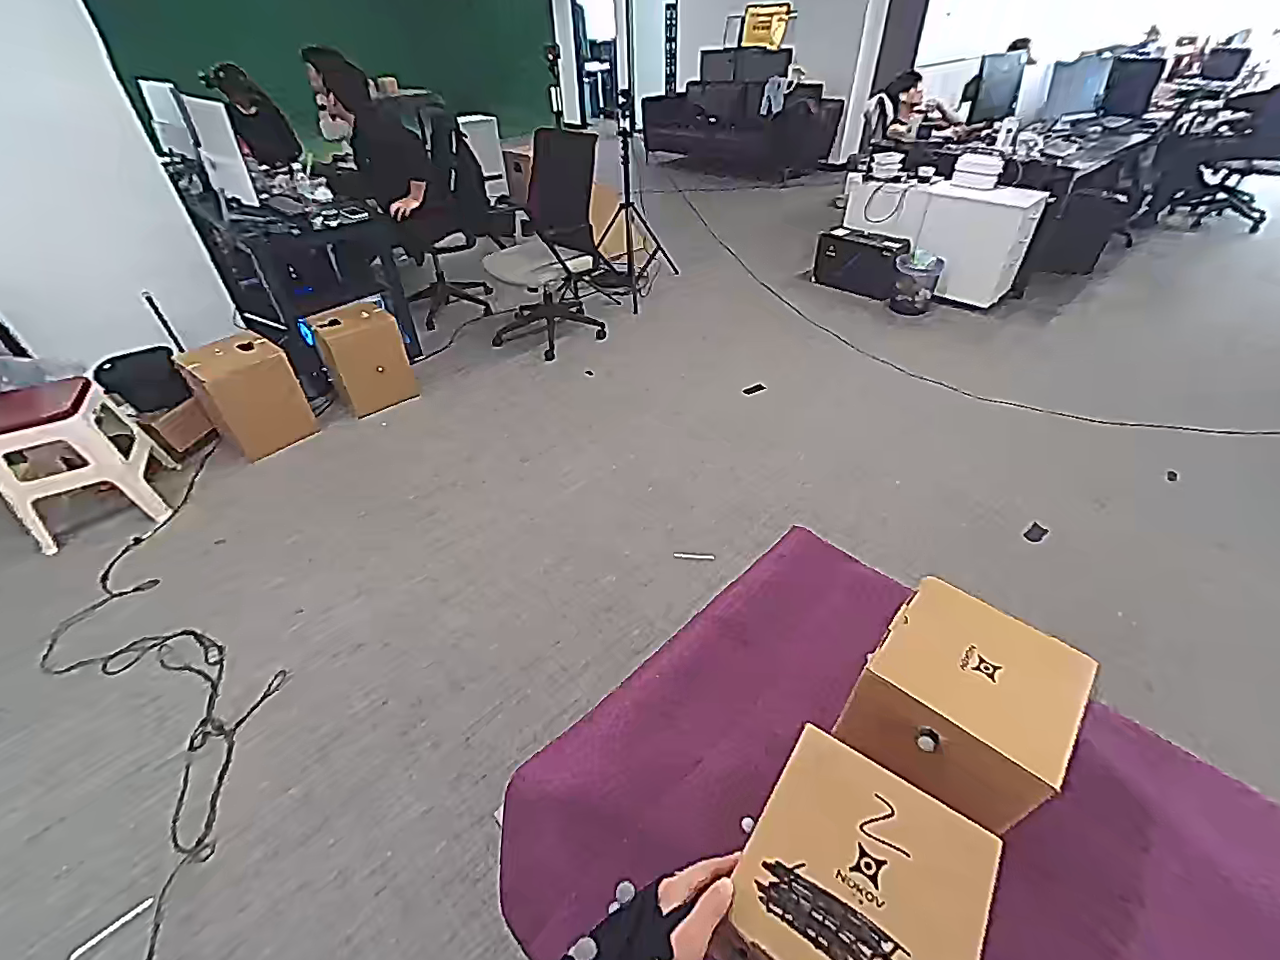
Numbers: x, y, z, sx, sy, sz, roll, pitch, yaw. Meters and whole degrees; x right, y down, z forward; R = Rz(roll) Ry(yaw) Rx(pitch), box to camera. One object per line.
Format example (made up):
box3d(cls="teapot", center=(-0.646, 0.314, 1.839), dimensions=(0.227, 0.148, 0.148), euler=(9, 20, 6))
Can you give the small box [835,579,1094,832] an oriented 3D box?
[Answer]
box3d(cls="small box", center=(0.349, 0.253, 0.605), dimensions=(0.179, 0.176, 0.168), euler=(30, 49, 32))
